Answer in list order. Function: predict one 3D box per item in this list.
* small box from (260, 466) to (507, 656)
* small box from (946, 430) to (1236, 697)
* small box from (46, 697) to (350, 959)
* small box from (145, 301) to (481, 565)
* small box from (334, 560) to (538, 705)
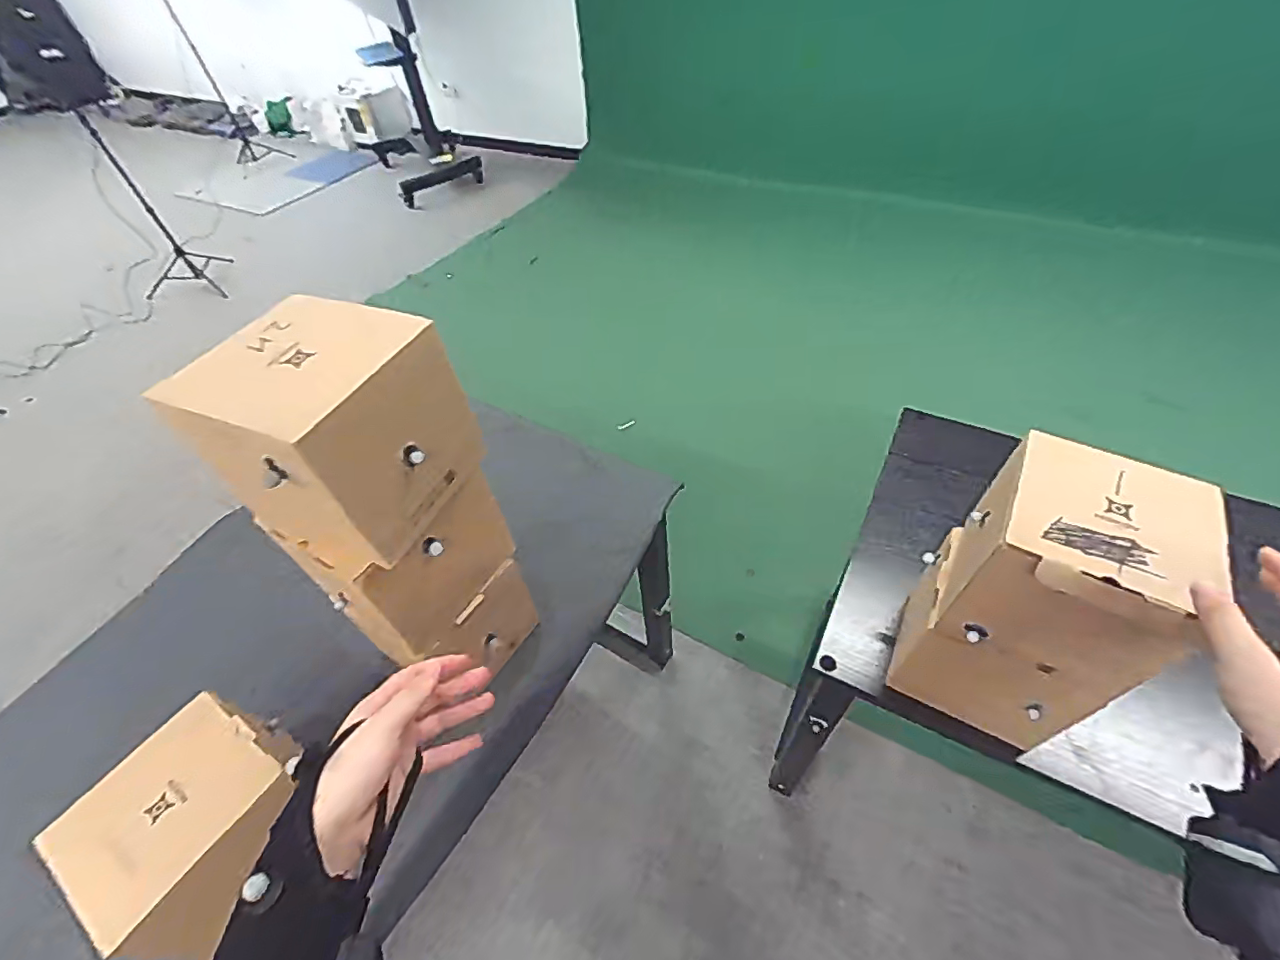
[{"bbox_3d":[-0.277,0.069,0.634,0.168,0.176,0.179,21,55,24],"label":"small box"},{"bbox_3d":[0.439,0.086,0.551,0.168,0.176,0.179,24,54,22],"label":"small box"},{"bbox_3d":[-0.458,0.383,0.596,0.168,0.176,0.179,22,55,25],"label":"small box"},{"bbox_3d":[-0.281,-0.042,0.513,0.179,0.176,0.168,14,52,19],"label":"small box"},{"bbox_3d":[-0.267,0.184,0.750,0.179,0.176,0.168,23,55,24],"label":"small box"}]
